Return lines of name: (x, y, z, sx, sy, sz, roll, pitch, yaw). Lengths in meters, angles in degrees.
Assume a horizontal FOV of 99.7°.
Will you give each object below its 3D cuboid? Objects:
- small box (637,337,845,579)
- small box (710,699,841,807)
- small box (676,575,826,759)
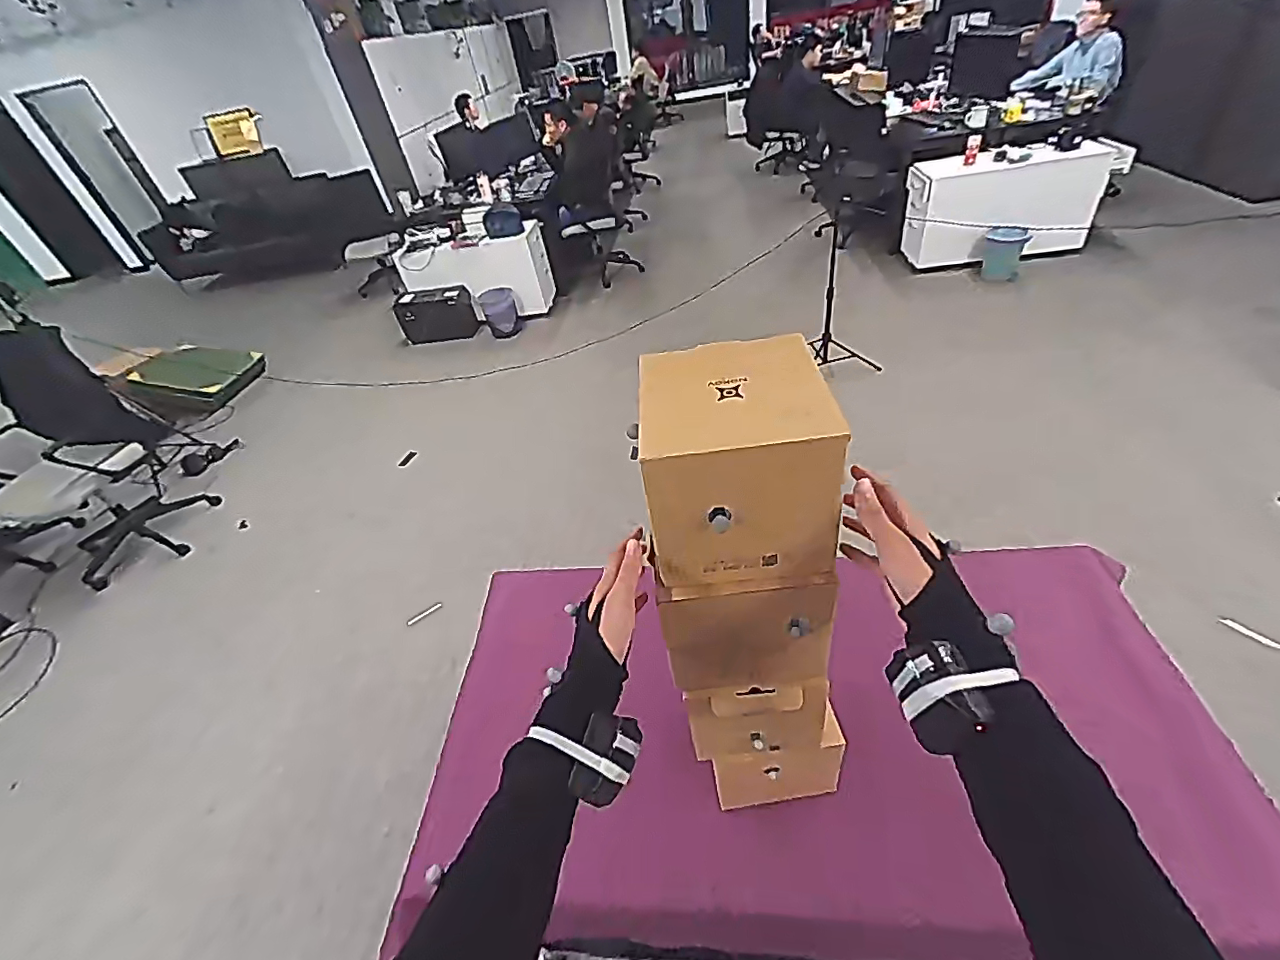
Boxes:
small box: (0.093, -0.016, 0.533, 0.168, 0.176, 0.179, -6, 39, 6)
small box: (0.186, 0.372, 0.822, 0.179, 0.176, 0.168, -10, 41, 1)
small box: (0.140, 0.246, 0.724, 0.168, 0.176, 0.179, -7, 40, 6)
